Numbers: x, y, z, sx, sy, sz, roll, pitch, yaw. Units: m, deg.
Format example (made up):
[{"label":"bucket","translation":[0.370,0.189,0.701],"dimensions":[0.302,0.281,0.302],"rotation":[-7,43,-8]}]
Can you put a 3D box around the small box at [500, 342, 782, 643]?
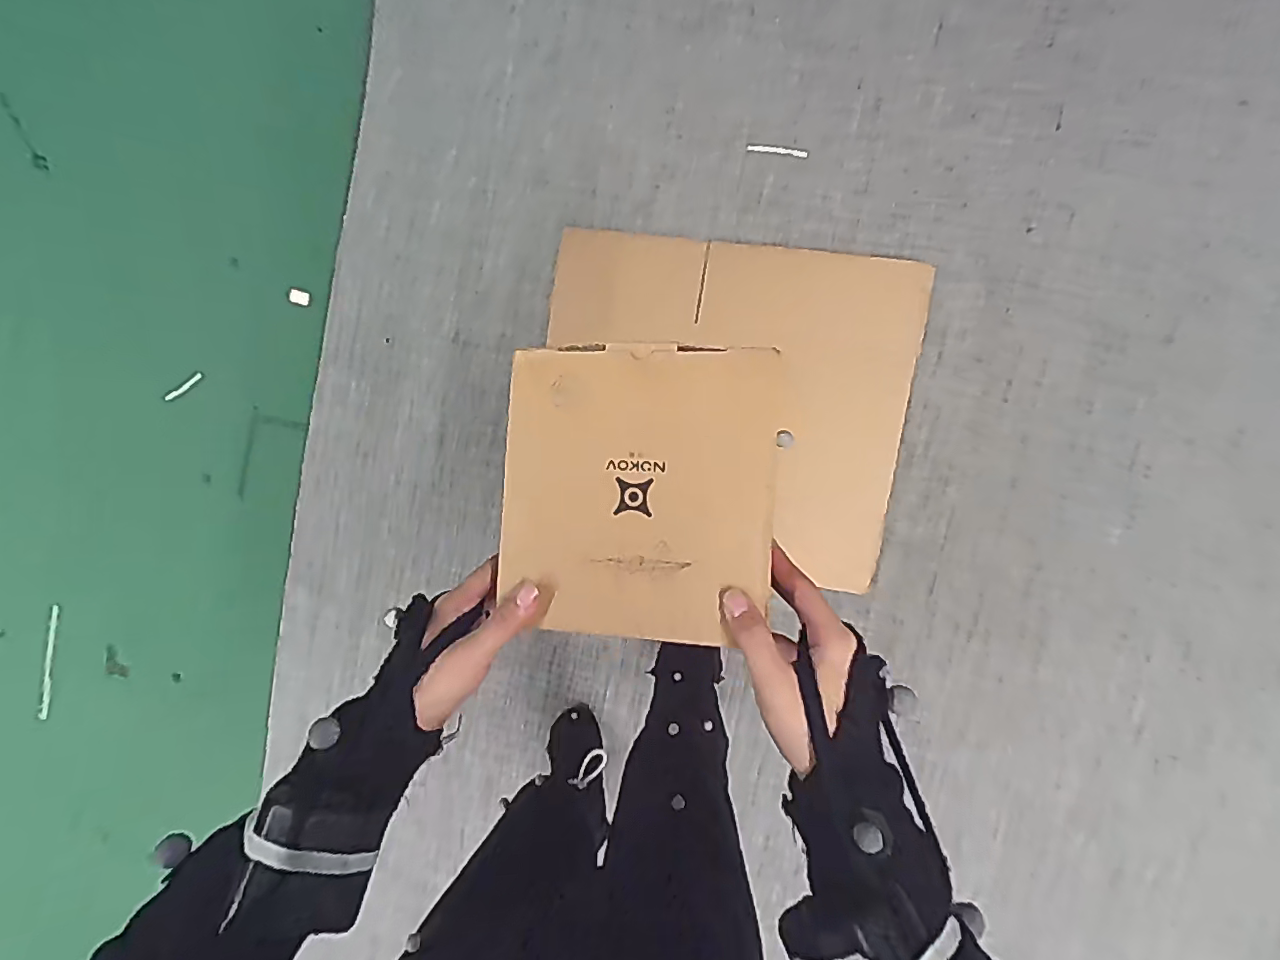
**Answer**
[{"label":"small box","translation":[0.011,0.008,0.403],"dimensions":[0.168,0.176,0.179],"rotation":[2,88,11]}]
